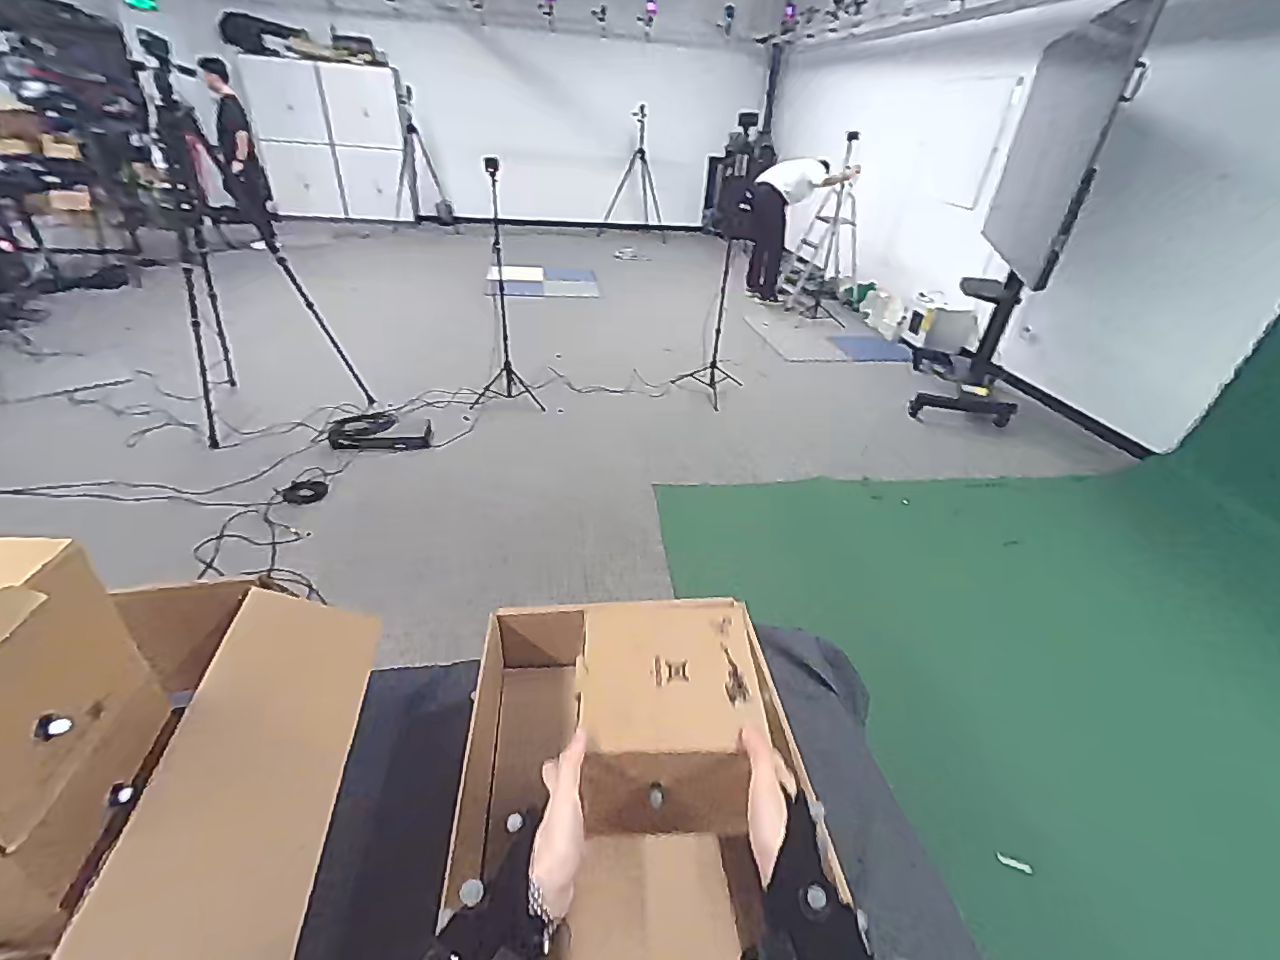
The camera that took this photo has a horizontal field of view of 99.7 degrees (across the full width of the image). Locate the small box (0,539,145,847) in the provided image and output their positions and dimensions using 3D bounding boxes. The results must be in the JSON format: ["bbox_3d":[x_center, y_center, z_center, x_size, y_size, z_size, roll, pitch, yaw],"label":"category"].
[{"bbox_3d":[-0.537,0.159,0.402,0.179,0.176,0.168,3,32,-11],"label":"small box"}]

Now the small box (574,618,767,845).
[{"bbox_3d":[0.028,0.270,0.586,0.179,0.176,0.168,-1,34,-1],"label":"small box"}]
